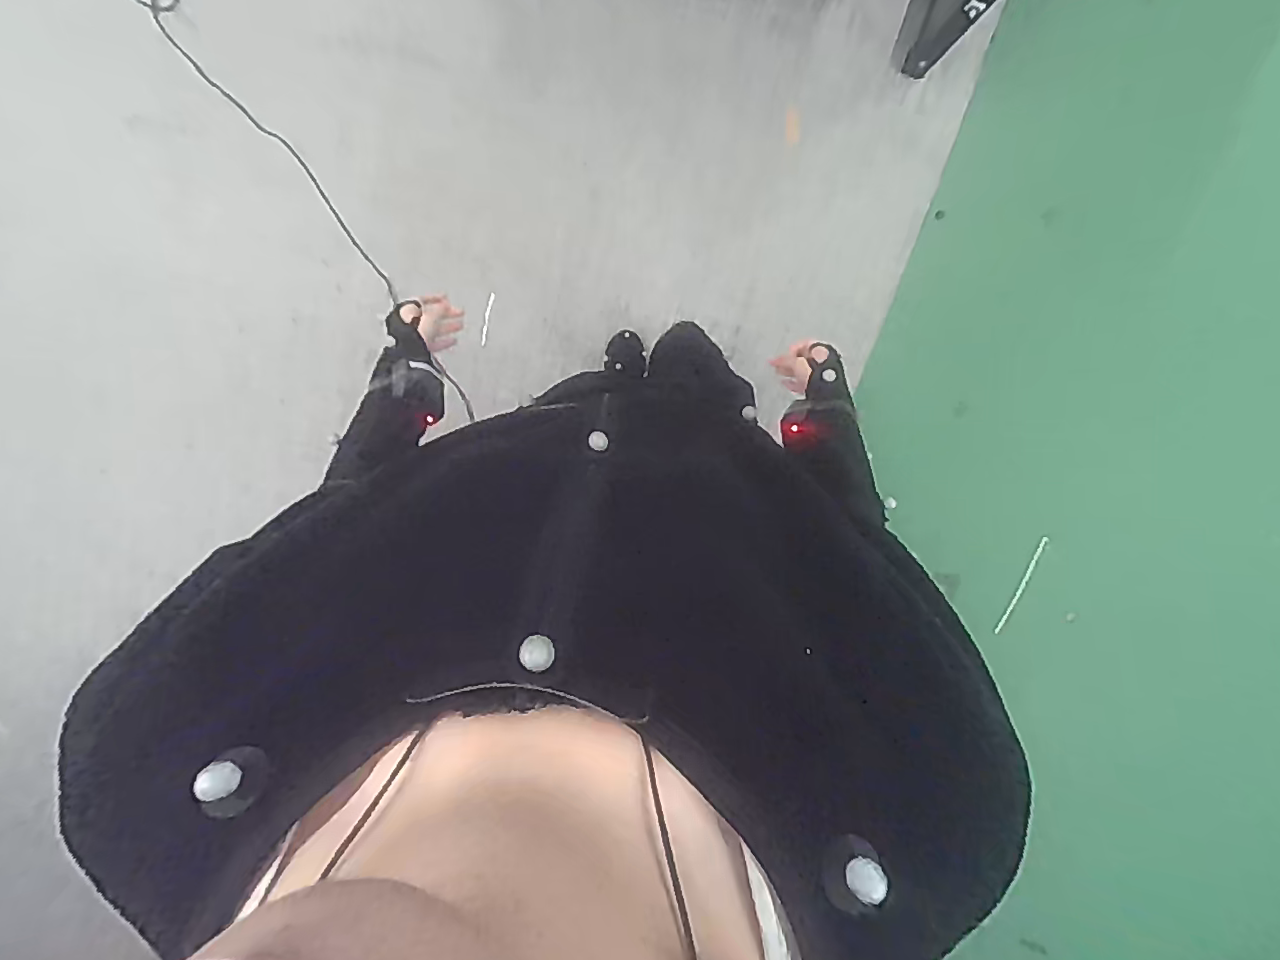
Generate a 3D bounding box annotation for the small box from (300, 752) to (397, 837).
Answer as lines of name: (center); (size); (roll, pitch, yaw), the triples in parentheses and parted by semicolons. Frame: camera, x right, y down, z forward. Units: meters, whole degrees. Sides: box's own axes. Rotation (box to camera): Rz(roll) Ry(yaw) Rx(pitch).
small box: (-0.884, 0.934, 1.661); (0.179, 0.176, 0.168); (32, 103, -4)
